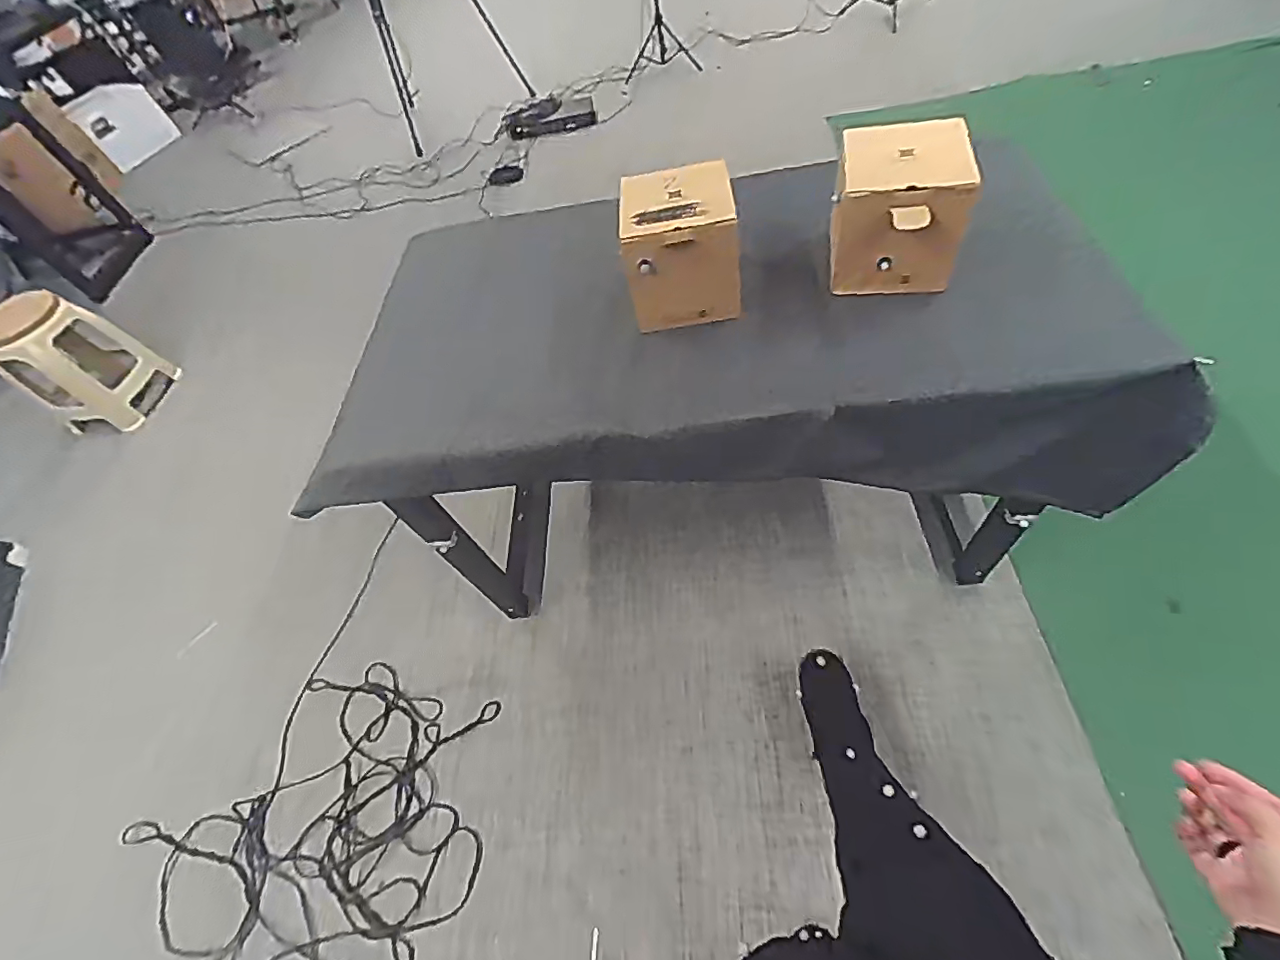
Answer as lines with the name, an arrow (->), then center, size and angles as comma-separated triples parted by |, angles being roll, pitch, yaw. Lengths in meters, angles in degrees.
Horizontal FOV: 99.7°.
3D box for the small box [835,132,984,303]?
small box -> 0.392, -0.393, 0.822 | 0.168, 0.176, 0.179 | 3, 57, 14
